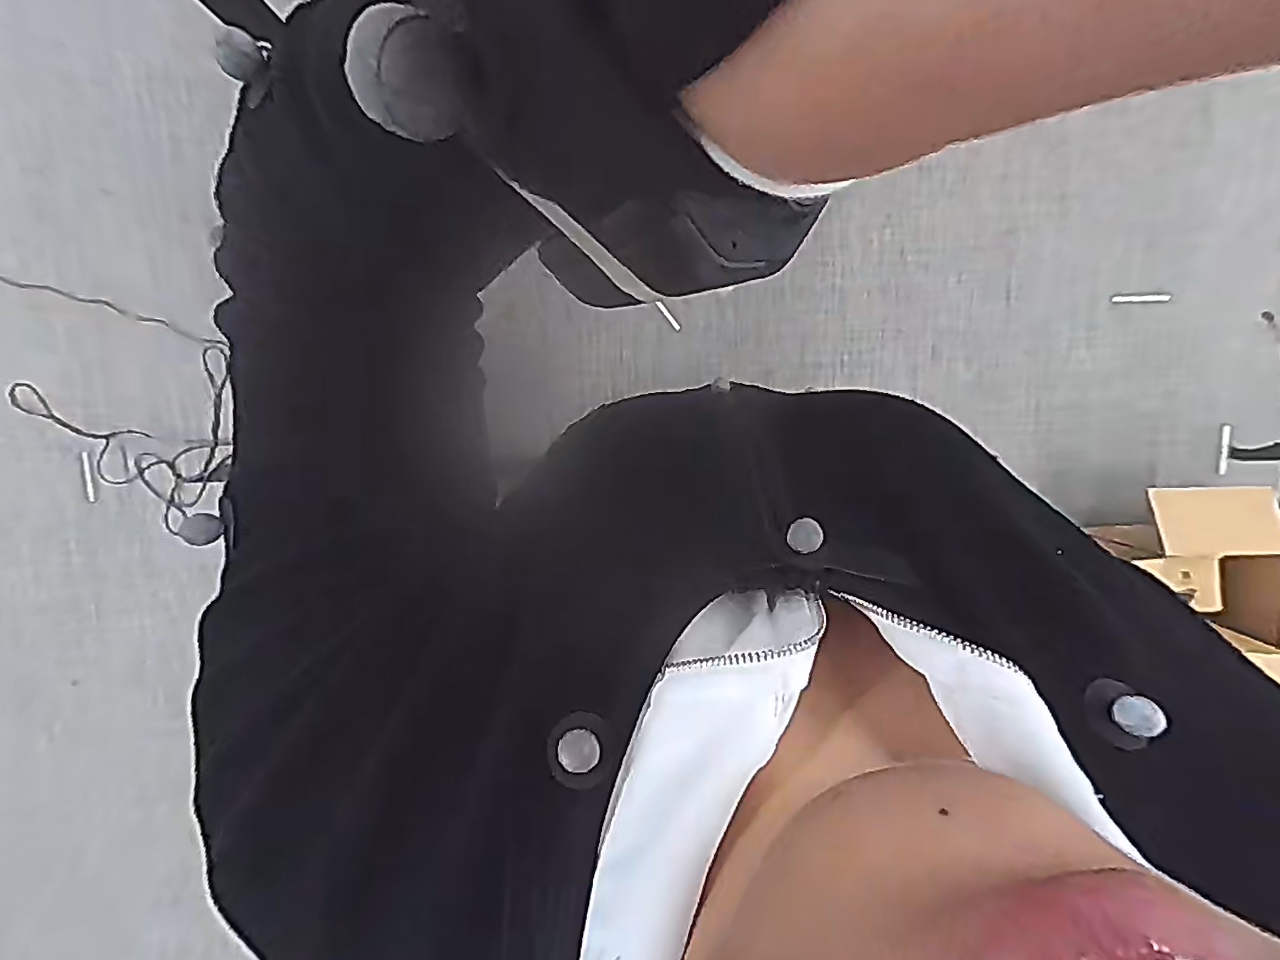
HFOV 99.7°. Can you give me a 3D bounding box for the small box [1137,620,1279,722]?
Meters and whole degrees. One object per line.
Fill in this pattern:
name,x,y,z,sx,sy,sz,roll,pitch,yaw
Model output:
small box,1.355,0.455,1.299,0.168,0.176,0.179,0,98,-2
